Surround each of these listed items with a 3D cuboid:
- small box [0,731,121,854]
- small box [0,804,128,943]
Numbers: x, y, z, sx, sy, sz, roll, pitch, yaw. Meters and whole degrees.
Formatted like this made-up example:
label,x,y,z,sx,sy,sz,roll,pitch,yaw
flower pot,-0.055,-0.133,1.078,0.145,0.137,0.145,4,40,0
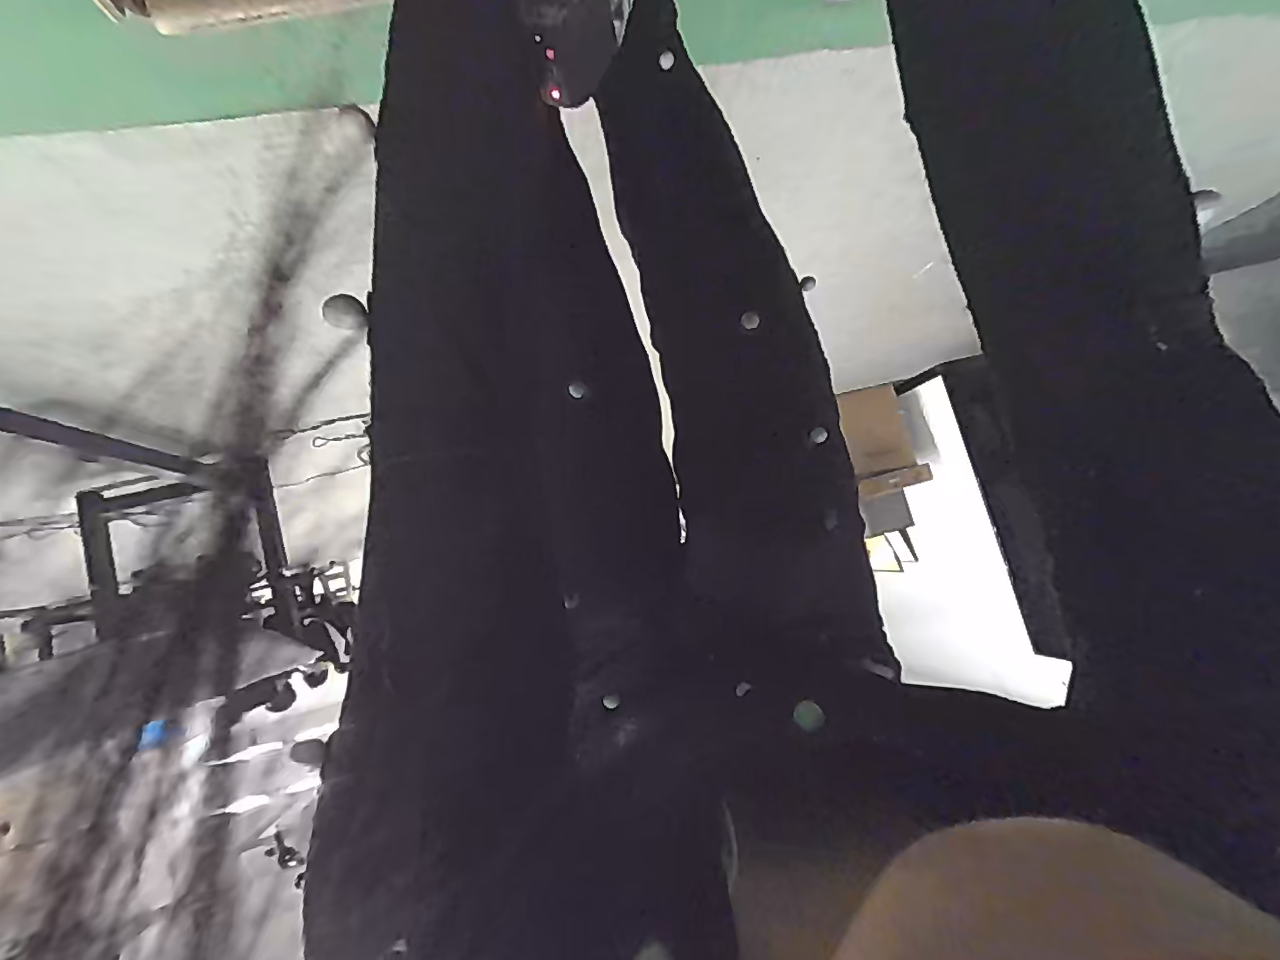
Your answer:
label,x,y,z,sx,sy,sz,roll,pitch,yaw
small box,-1.260,0.649,1.132,0.179,0.176,0.168,-13,174,-9
small box,-1.234,0.812,1.125,0.179,0.176,0.168,-15,175,-8
